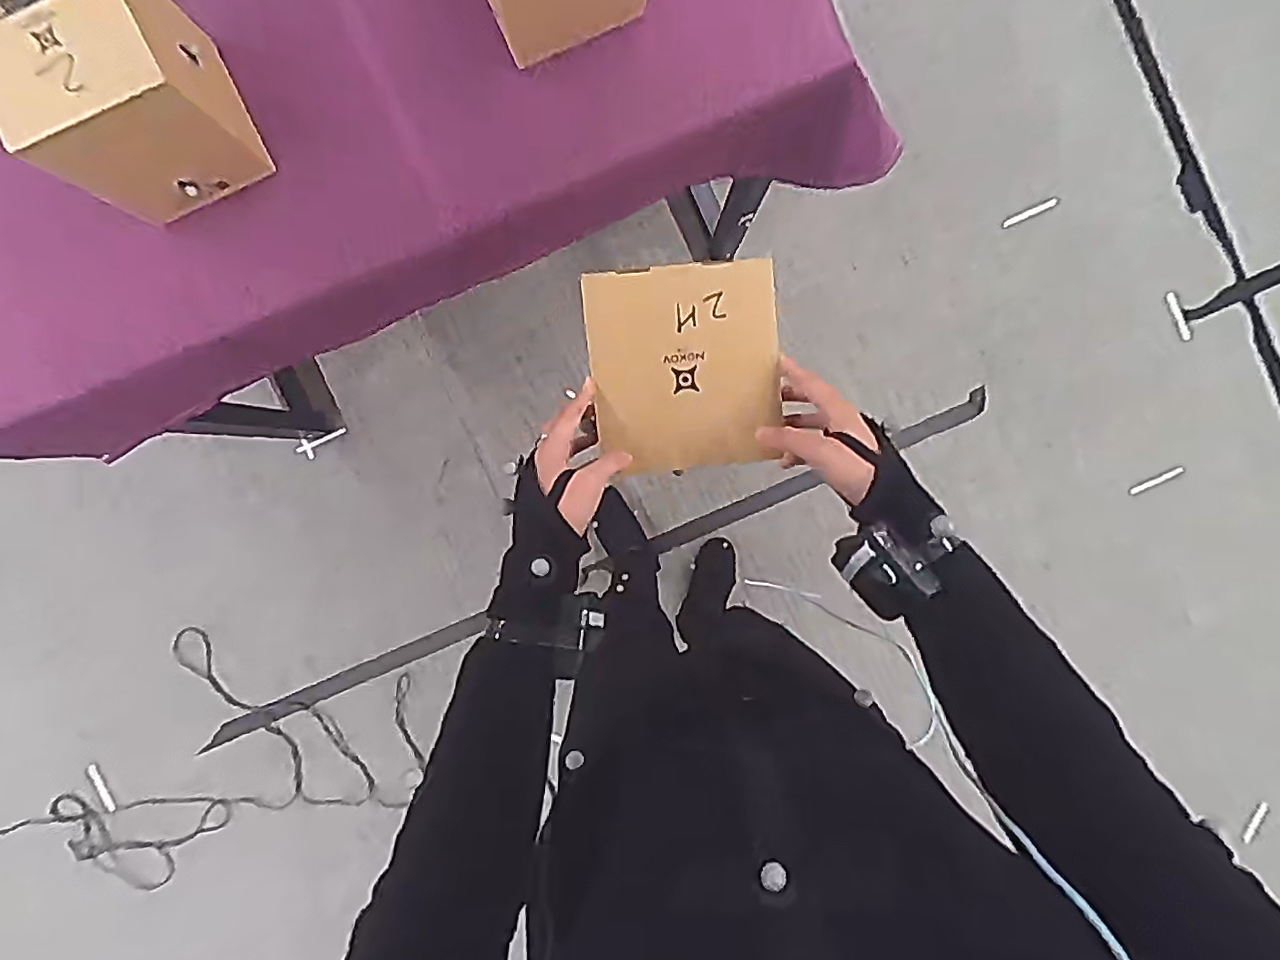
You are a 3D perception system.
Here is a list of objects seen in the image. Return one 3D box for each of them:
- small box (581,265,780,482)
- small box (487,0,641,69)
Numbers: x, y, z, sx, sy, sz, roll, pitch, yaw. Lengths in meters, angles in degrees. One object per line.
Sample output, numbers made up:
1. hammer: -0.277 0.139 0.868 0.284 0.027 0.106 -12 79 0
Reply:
1. small box: 0.035 -0.101 0.547 0.168 0.176 0.179 -6 97 -2
2. small box: -0.104 -0.608 0.592 0.179 0.176 0.168 -25 92 -1
